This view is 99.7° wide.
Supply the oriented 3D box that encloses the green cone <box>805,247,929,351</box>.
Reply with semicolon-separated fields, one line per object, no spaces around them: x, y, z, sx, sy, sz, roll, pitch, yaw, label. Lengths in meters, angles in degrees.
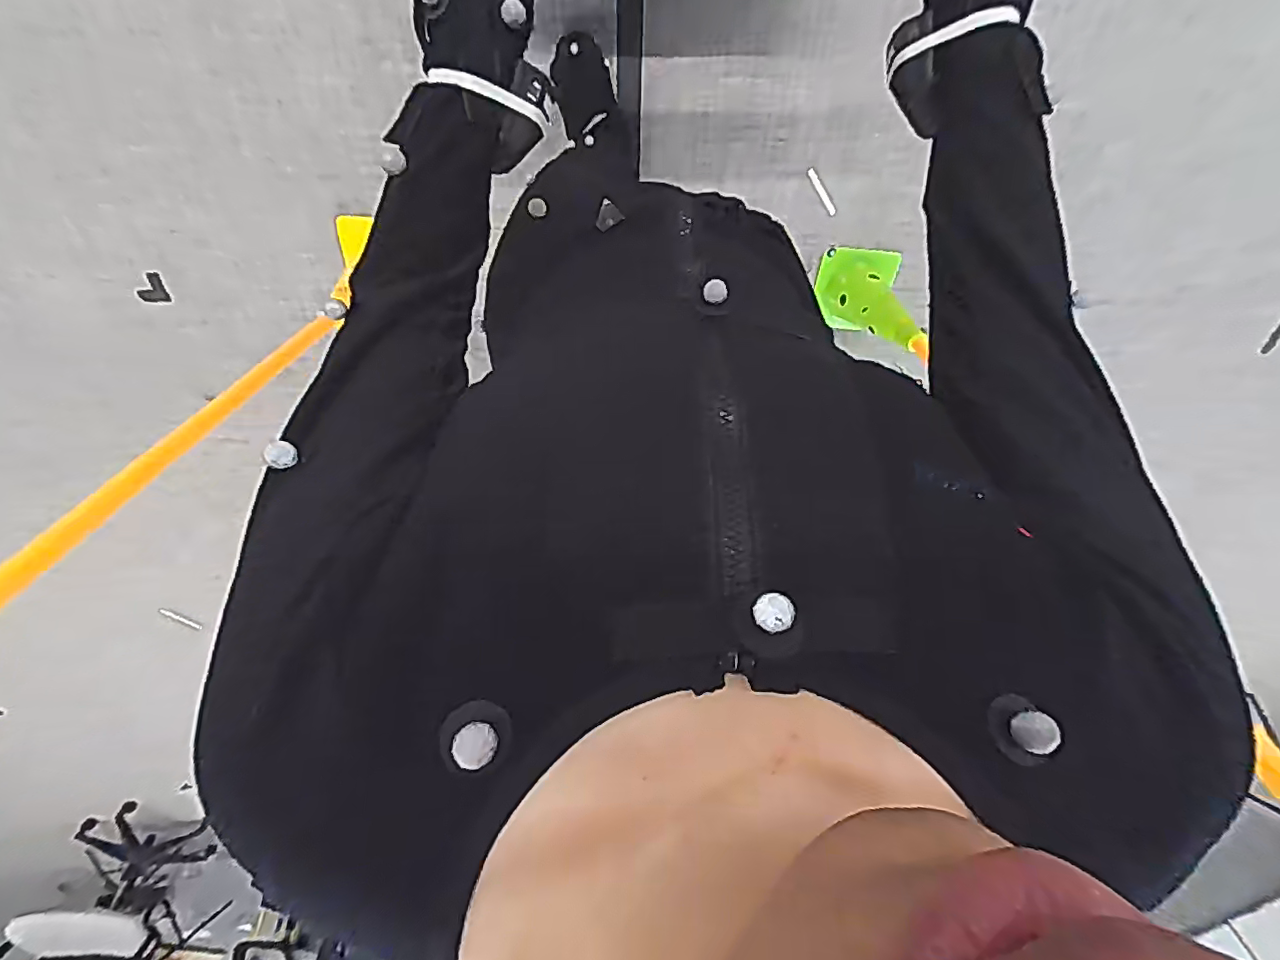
0.550;-0.384;1.245;0.202;0.368;0.200;1;127;-6;green cone
